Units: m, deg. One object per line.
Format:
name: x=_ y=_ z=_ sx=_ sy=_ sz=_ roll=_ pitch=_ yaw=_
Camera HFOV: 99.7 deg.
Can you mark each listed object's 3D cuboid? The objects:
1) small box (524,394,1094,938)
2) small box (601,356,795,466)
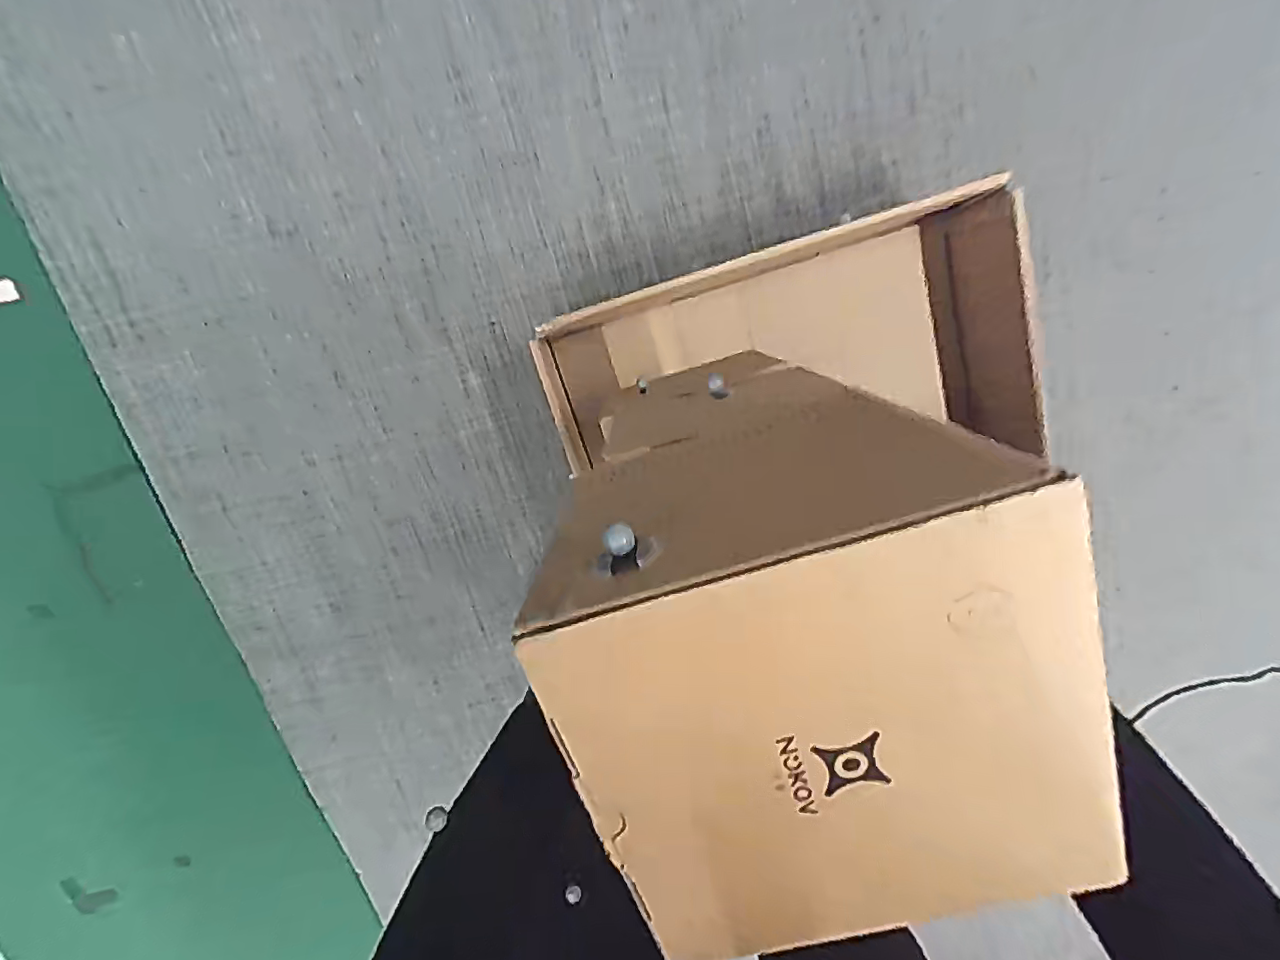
small box: x=0.068 y=0.068 z=0.270 sx=0.179 sy=0.176 sz=0.168 roll=-18 pitch=107 yaw=8
small box: x=0.071 y=-0.027 z=0.581 sx=0.179 sy=0.176 sz=0.168 roll=-16 pitch=106 yaw=6
